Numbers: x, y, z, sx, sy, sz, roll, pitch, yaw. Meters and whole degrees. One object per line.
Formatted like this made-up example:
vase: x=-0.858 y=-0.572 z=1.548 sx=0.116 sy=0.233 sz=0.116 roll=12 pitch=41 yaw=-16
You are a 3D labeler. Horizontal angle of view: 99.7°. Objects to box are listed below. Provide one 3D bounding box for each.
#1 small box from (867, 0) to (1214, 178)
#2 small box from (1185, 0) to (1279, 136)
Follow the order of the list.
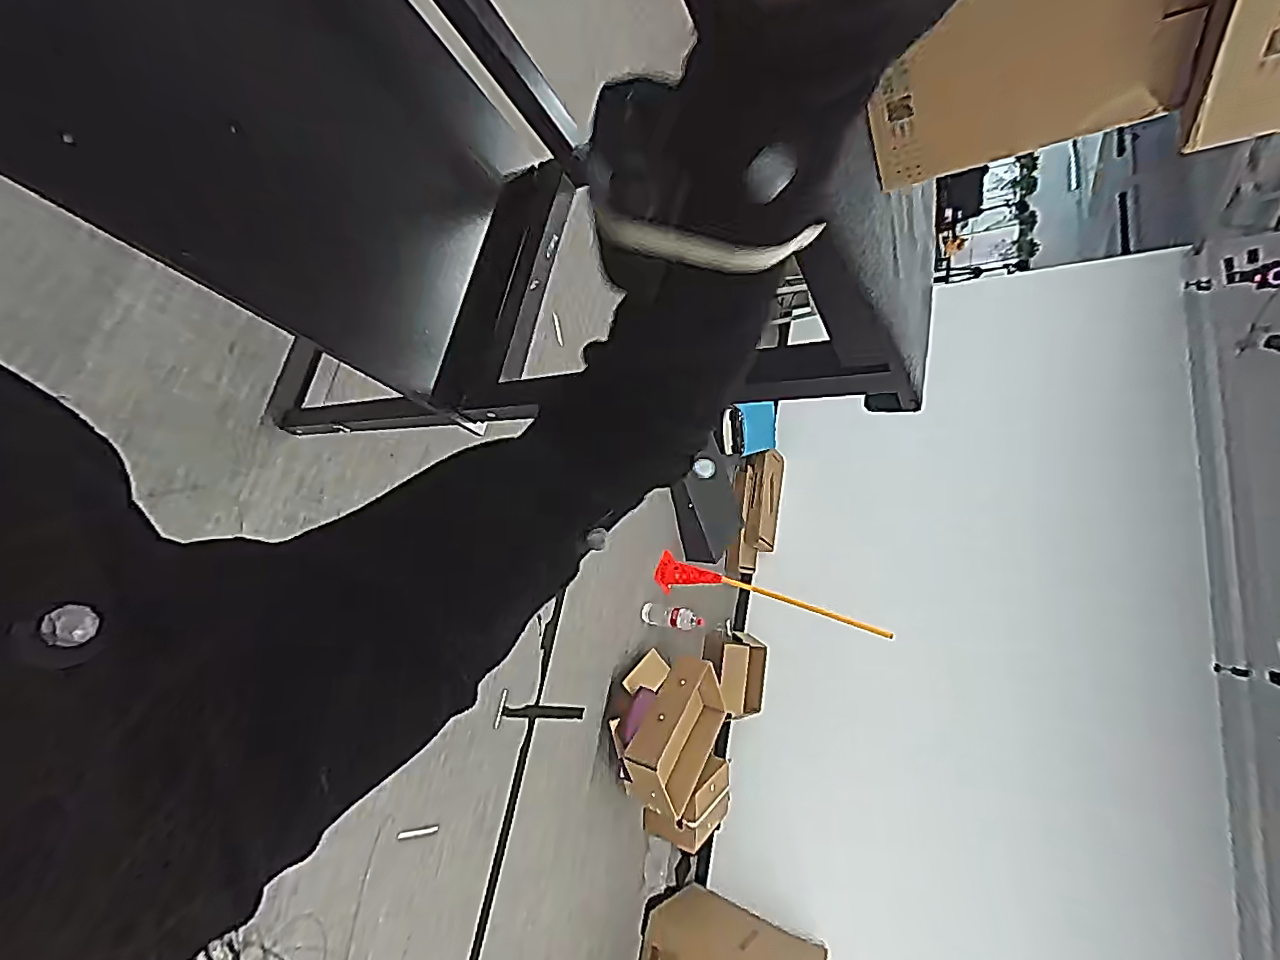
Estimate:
small box: x=0.236 y=-0.330 z=0.335 sx=0.168 sy=0.176 sz=0.179 roll=40 pitch=56 yaw=-50
small box: x=0.365 y=-0.300 z=0.237 sx=0.168 sy=0.176 sz=0.179 roll=32 pitch=63 yaw=-54
